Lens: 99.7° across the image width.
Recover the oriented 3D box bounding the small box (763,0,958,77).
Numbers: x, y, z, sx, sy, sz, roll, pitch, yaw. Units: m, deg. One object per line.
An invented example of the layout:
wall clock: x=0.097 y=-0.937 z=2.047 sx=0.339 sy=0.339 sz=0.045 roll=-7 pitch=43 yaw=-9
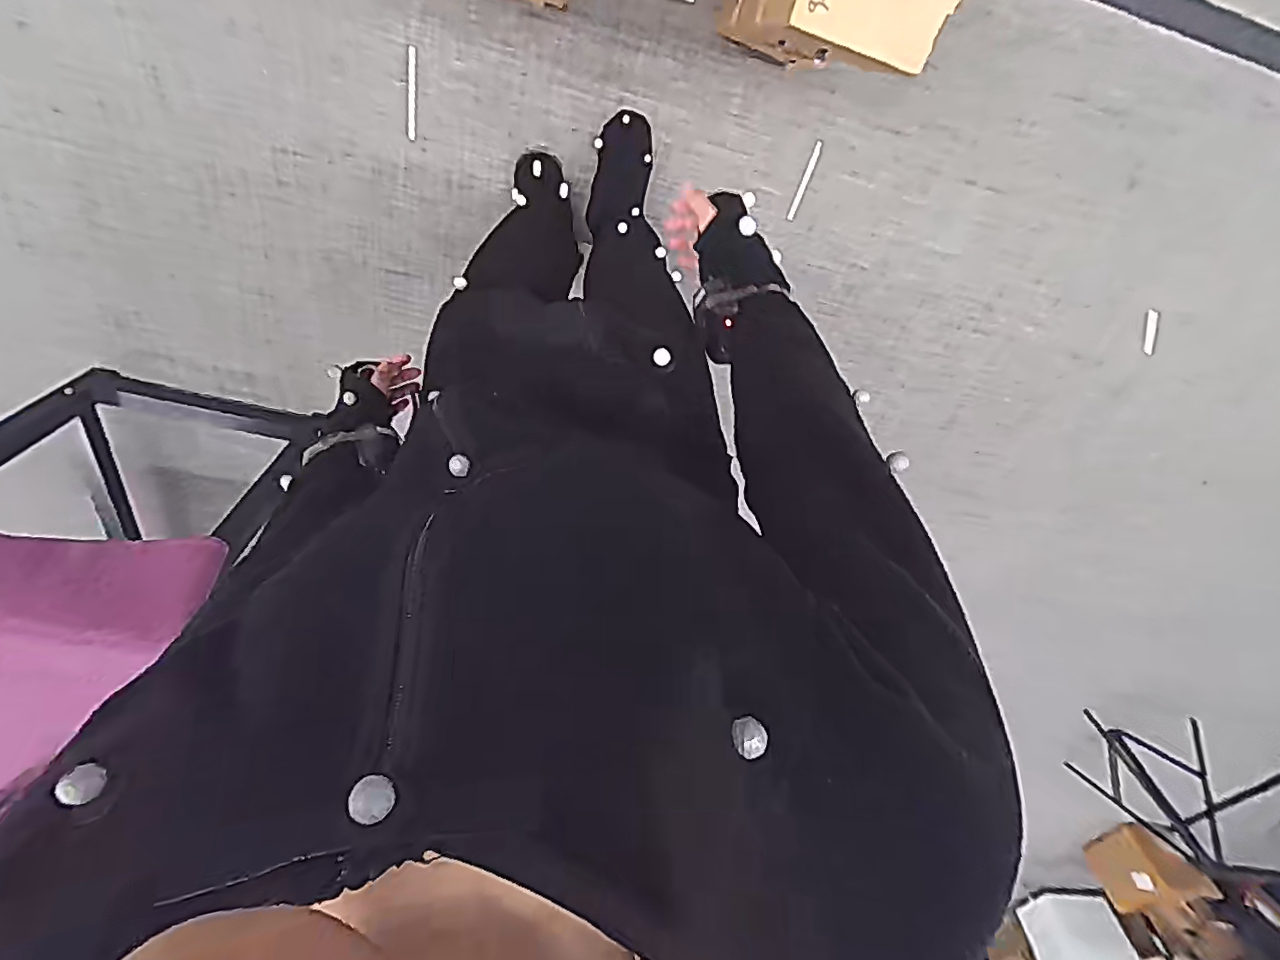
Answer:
small box: x=0.270 y=-0.609 z=0.635 sx=0.179 sy=0.176 sz=0.168 roll=11 pitch=129 yaw=-13

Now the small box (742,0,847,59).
small box: x=0.256 y=-0.721 z=0.755 sx=0.168 sy=0.176 sz=0.179 roll=10 pitch=128 yaw=-11

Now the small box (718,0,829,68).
small box: x=0.247 y=-0.813 z=0.889 sx=0.179 sy=0.176 sz=0.168 roll=14 pitch=127 yaw=-14
